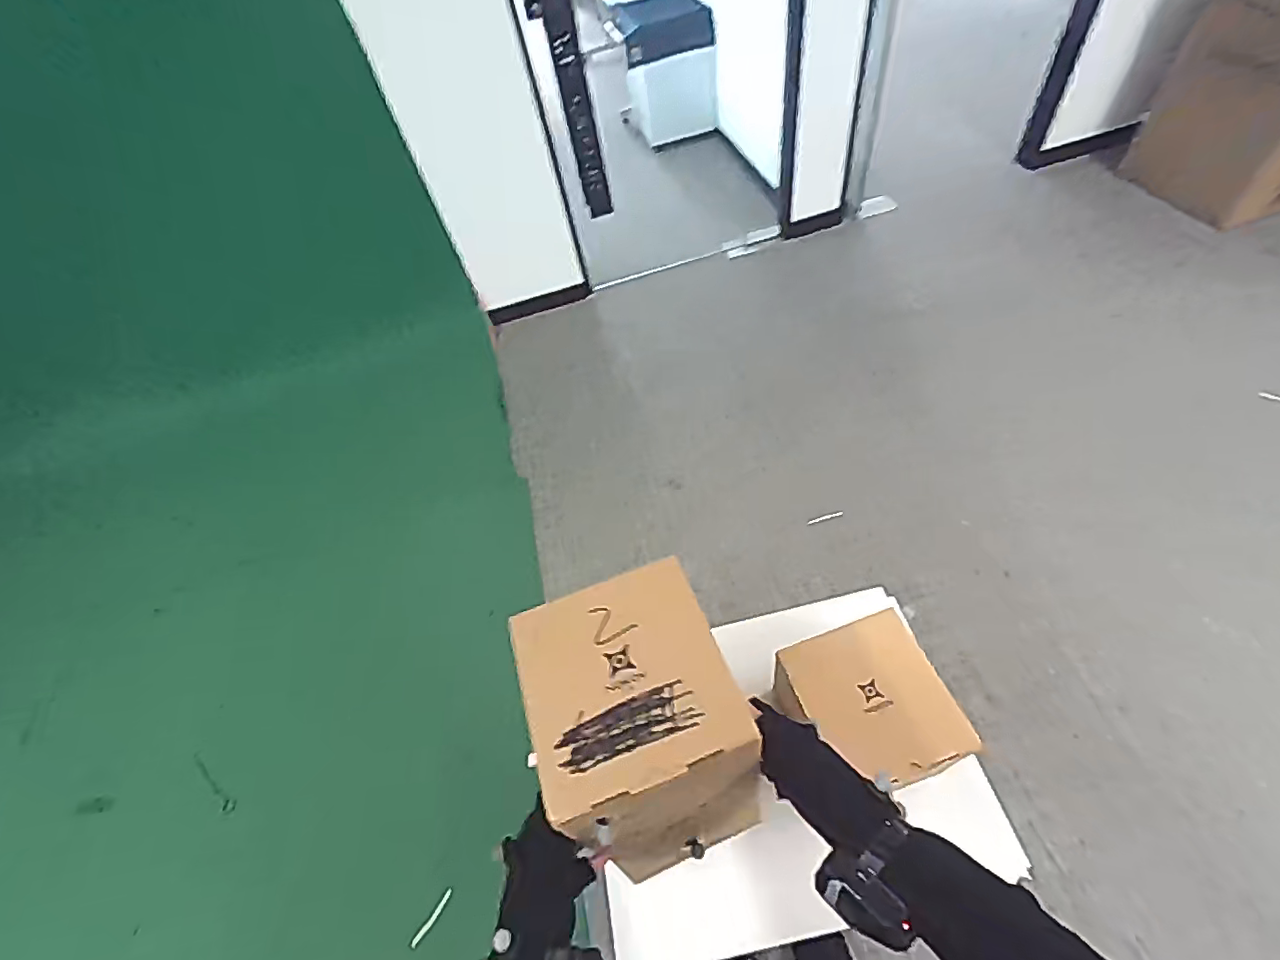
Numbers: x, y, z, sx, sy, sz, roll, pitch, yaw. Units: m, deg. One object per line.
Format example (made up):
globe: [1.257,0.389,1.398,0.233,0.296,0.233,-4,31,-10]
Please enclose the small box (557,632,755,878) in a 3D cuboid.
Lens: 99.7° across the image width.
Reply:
small box: [0.019,0.317,0.627,0.168,0.176,0.179,-22,44,-7]
